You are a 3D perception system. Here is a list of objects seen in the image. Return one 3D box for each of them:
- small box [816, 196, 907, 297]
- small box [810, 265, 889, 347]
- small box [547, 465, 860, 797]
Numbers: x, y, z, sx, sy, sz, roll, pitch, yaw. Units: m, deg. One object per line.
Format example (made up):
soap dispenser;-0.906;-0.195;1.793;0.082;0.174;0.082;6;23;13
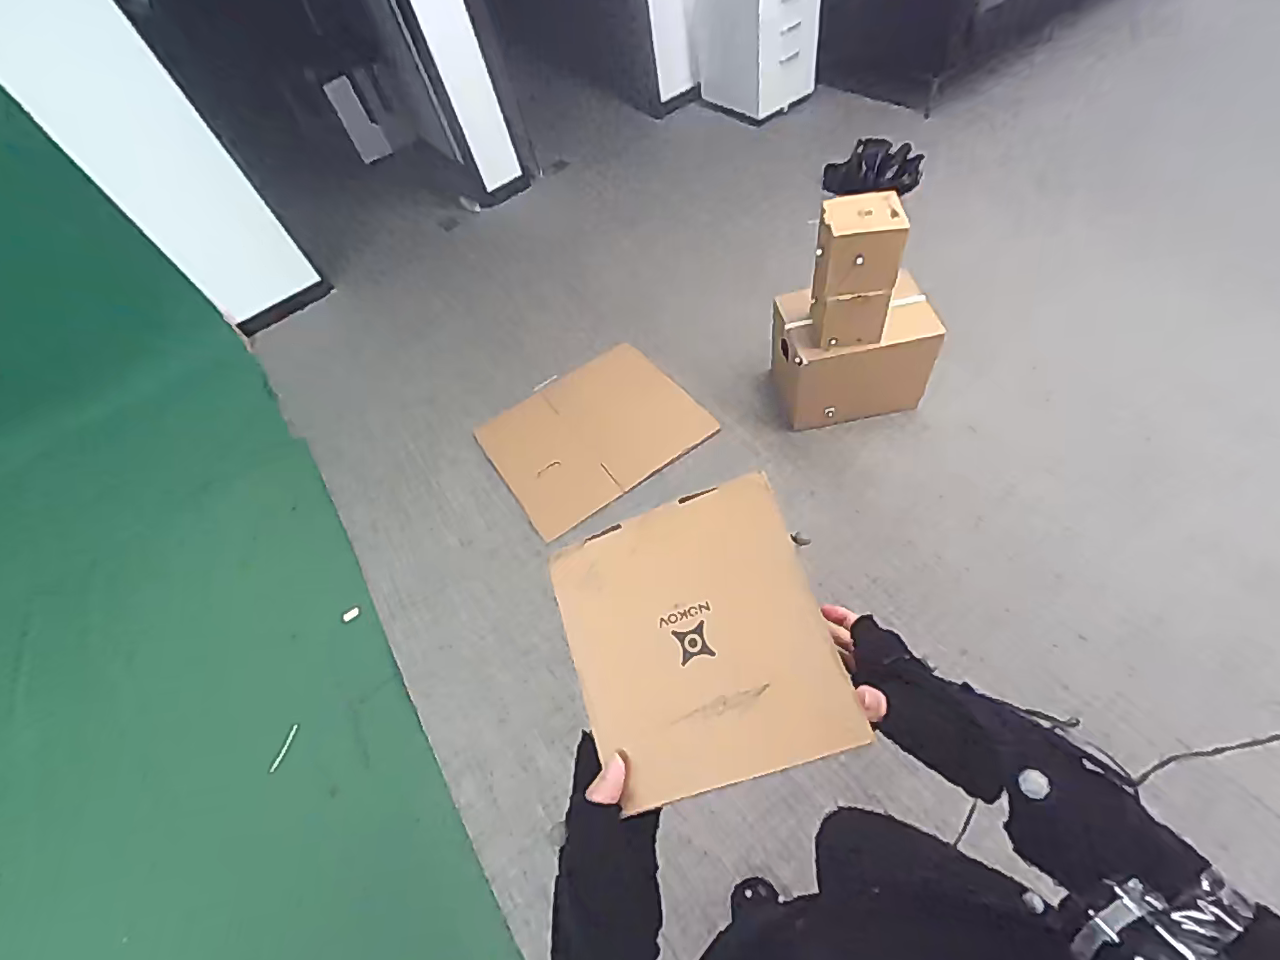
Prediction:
small box;0.550;-0.587;1.374;0.179;0.176;0.168;-6;53;7
small box;0.573;-0.485;1.497;0.168;0.176;0.179;-5;54;9
small box;0.053;0.114;0.428;0.168;0.176;0.179;-23;71;12
